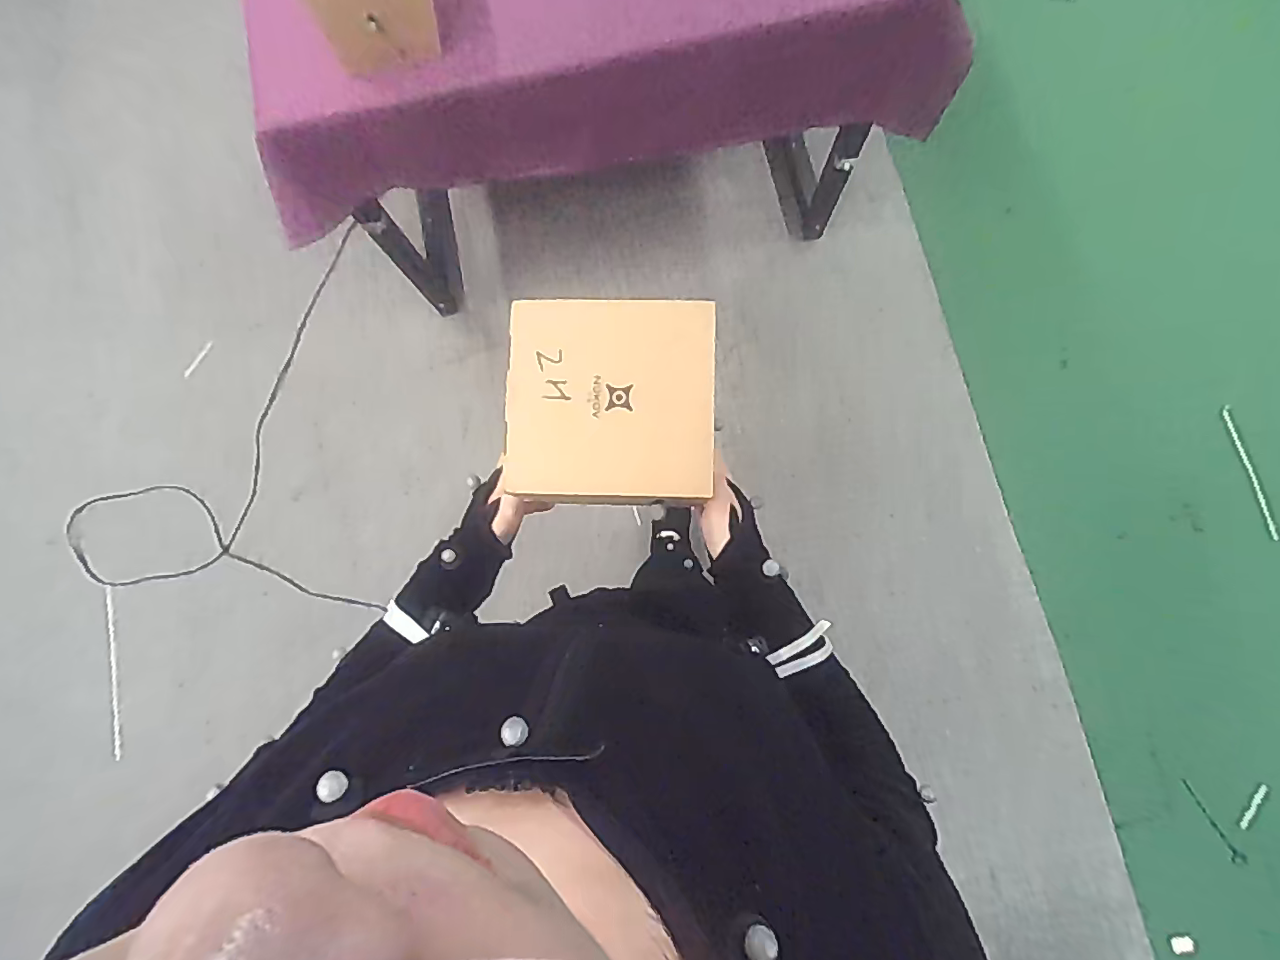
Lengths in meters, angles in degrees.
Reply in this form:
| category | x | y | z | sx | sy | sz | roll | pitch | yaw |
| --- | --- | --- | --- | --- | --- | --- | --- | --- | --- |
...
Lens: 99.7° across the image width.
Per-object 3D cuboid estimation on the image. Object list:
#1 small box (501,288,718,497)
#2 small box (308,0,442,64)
| category | x | y | z | sx | sy | sz | roll | pitch | yaw |
| --- | --- | --- | --- | --- | --- | --- | --- | --- | --- |
| small box | -0.021 | -0.072 | 0.527 | 0.179 | 0.176 | 0.168 | 2 | 84 | 4 |
| small box | -0.433 | -0.812 | 0.866 | 0.168 | 0.176 | 0.179 | -11 | 81 | 1 |
